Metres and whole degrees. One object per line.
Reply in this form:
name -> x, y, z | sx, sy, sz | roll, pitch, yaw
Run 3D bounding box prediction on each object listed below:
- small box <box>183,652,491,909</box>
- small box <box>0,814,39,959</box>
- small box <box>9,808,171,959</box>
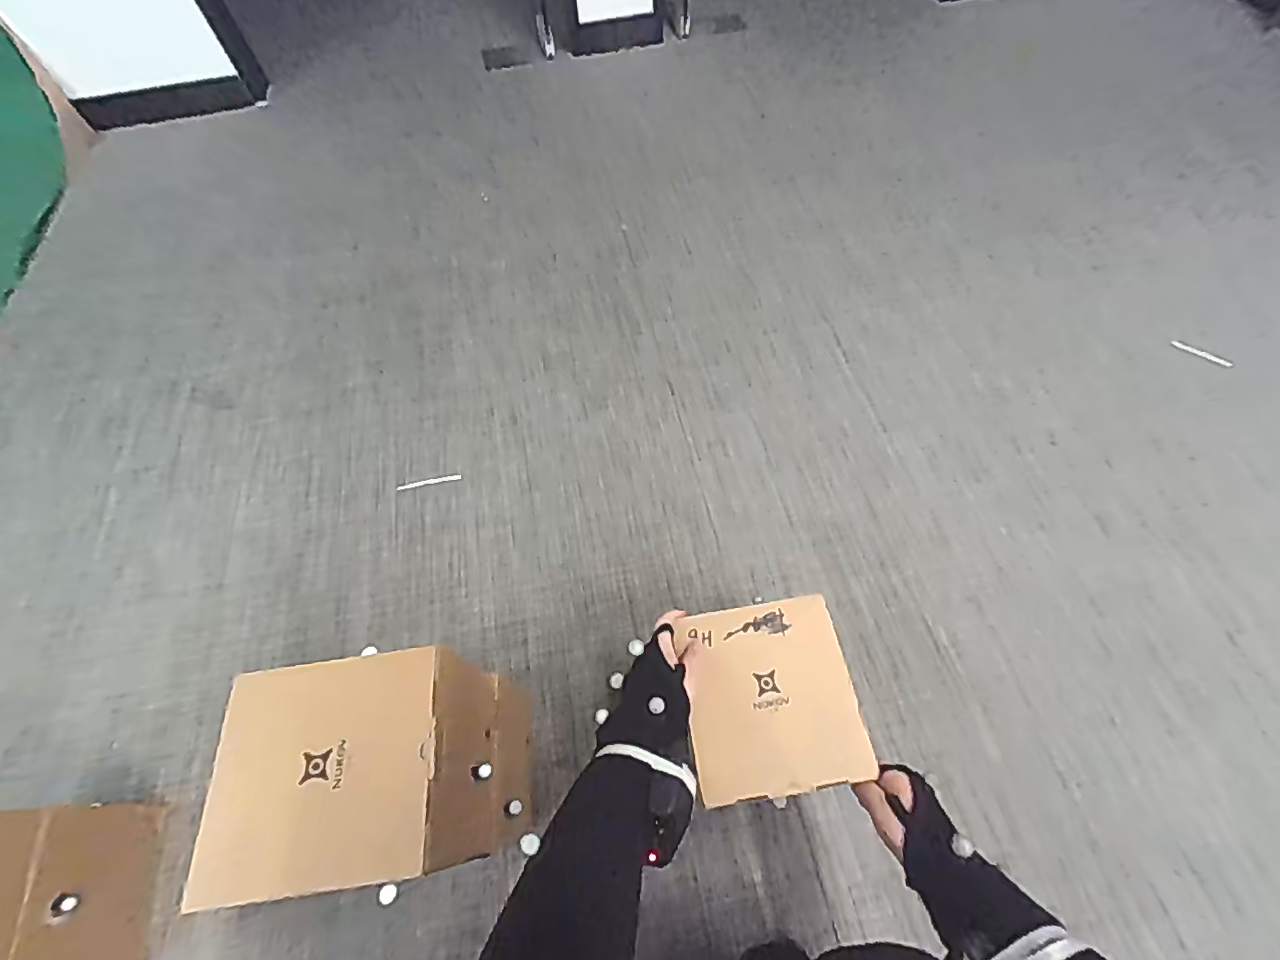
small box -> -0.251, 0.273, 0.500 | 0.179, 0.176, 0.168 | -8, 59, -1
small box -> -0.682, 0.400, 0.451 | 0.168, 0.176, 0.179 | -13, 60, -6
small box -> -0.674, 0.480, 0.595 | 0.168, 0.176, 0.179 | -12, 60, -5
